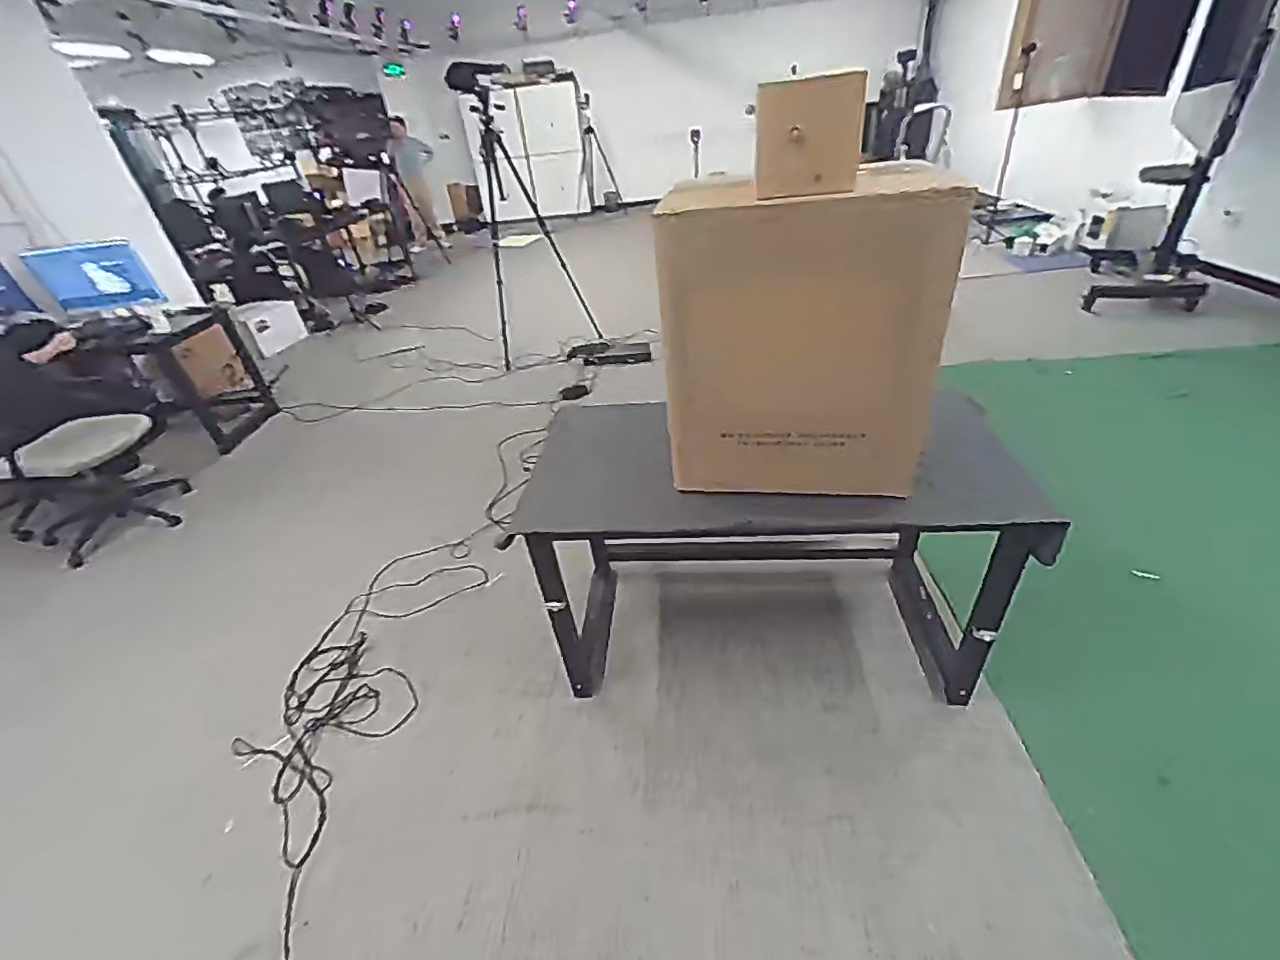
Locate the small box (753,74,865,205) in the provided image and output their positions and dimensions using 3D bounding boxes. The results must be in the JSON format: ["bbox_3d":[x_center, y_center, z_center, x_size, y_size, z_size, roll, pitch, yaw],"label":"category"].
[{"bbox_3d":[0.284,-0.586,0.939,0.168,0.176,0.179,0,37,11],"label":"small box"}]
